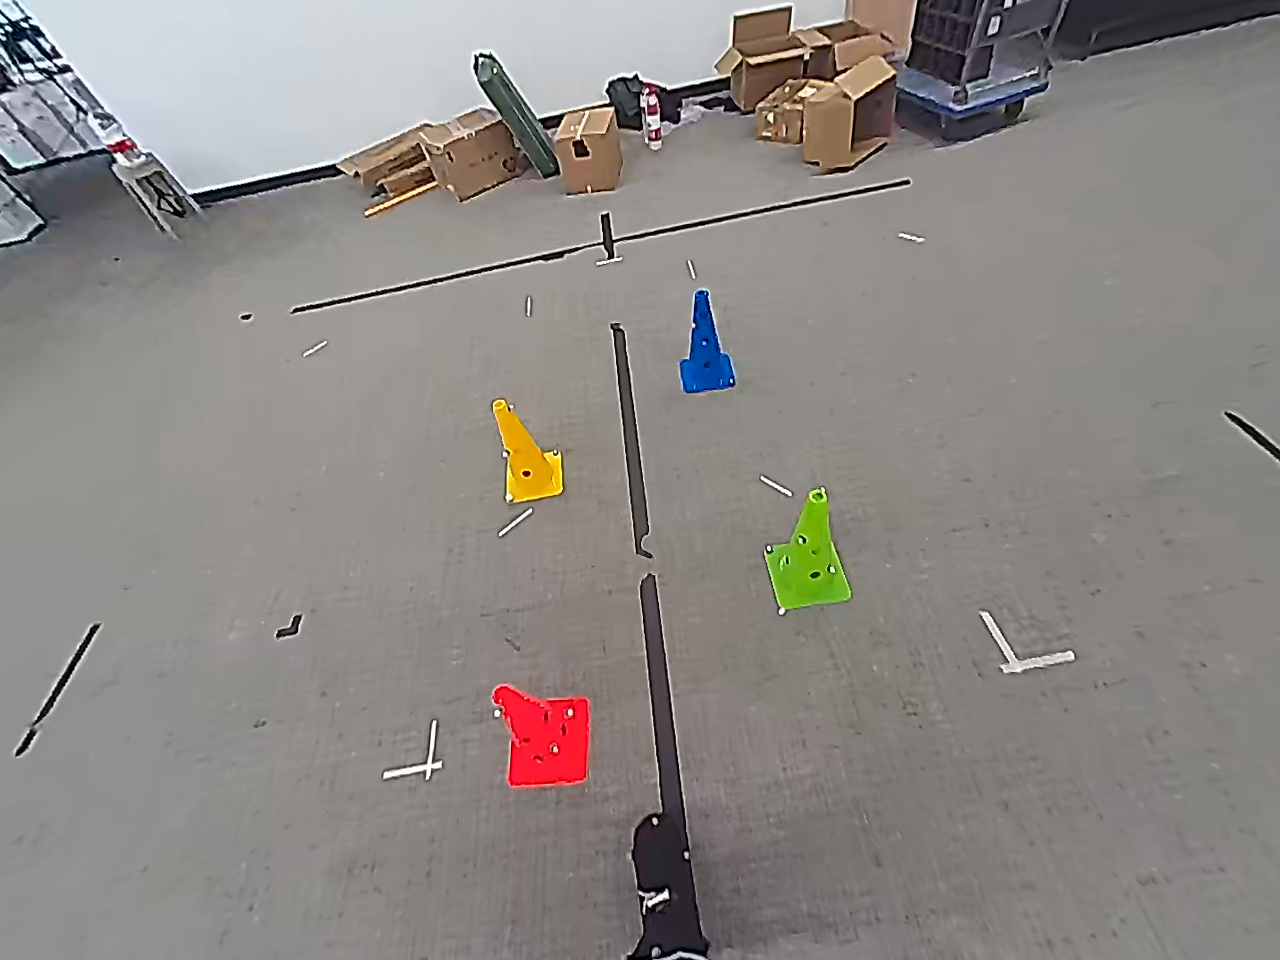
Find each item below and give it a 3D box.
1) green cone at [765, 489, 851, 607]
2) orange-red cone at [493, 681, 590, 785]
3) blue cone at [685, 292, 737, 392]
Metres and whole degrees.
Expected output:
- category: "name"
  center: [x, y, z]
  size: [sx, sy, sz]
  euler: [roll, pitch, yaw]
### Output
- category: "green cone"
  center: [0.445, 0.152, 1.386]
  size: [0.202, 0.368, 0.200]
  euler: [-9, 50, 2]
- category: "orange-red cone"
  center: [-0.253, 0.536, 1.215]
  size: [0.199, 0.360, 0.198]
  euler: [-7, 49, 7]
- category: "blue cone"
  center: [0.252, -0.516, 1.988]
  size: [0.192, 0.380, 0.193]
  euler: [-6, 51, 5]
